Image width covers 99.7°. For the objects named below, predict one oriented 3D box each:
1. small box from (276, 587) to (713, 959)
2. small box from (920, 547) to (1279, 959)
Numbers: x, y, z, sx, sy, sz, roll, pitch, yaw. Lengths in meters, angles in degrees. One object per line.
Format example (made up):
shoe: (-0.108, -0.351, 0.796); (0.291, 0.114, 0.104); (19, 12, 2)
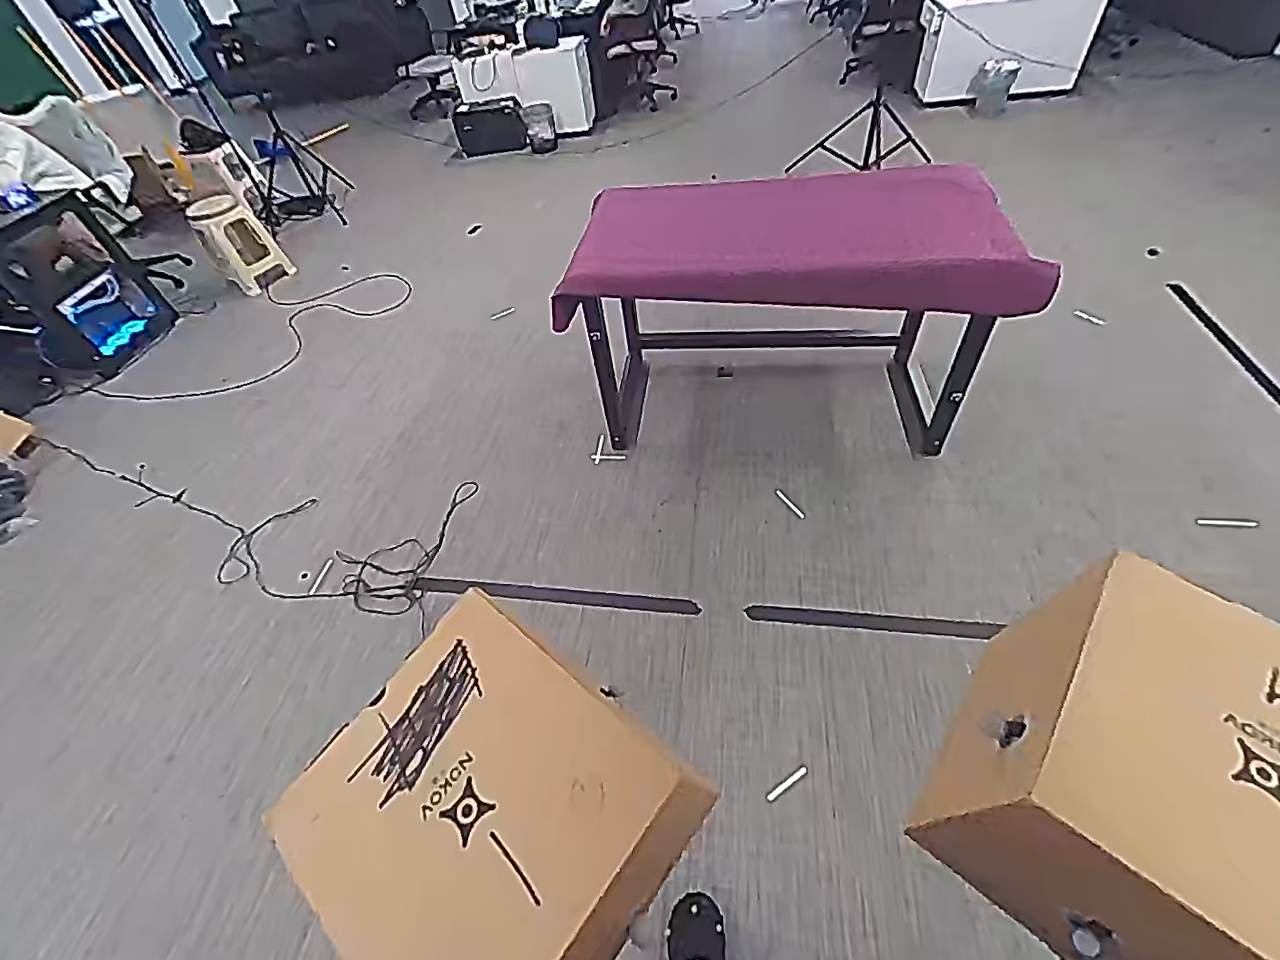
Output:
small box: (-0.072, 0.205, 0.350); (0.179, 0.176, 0.168); (29, 70, 28)
small box: (0.299, 0.182, 0.321); (0.168, 0.176, 0.179); (34, 61, 23)
